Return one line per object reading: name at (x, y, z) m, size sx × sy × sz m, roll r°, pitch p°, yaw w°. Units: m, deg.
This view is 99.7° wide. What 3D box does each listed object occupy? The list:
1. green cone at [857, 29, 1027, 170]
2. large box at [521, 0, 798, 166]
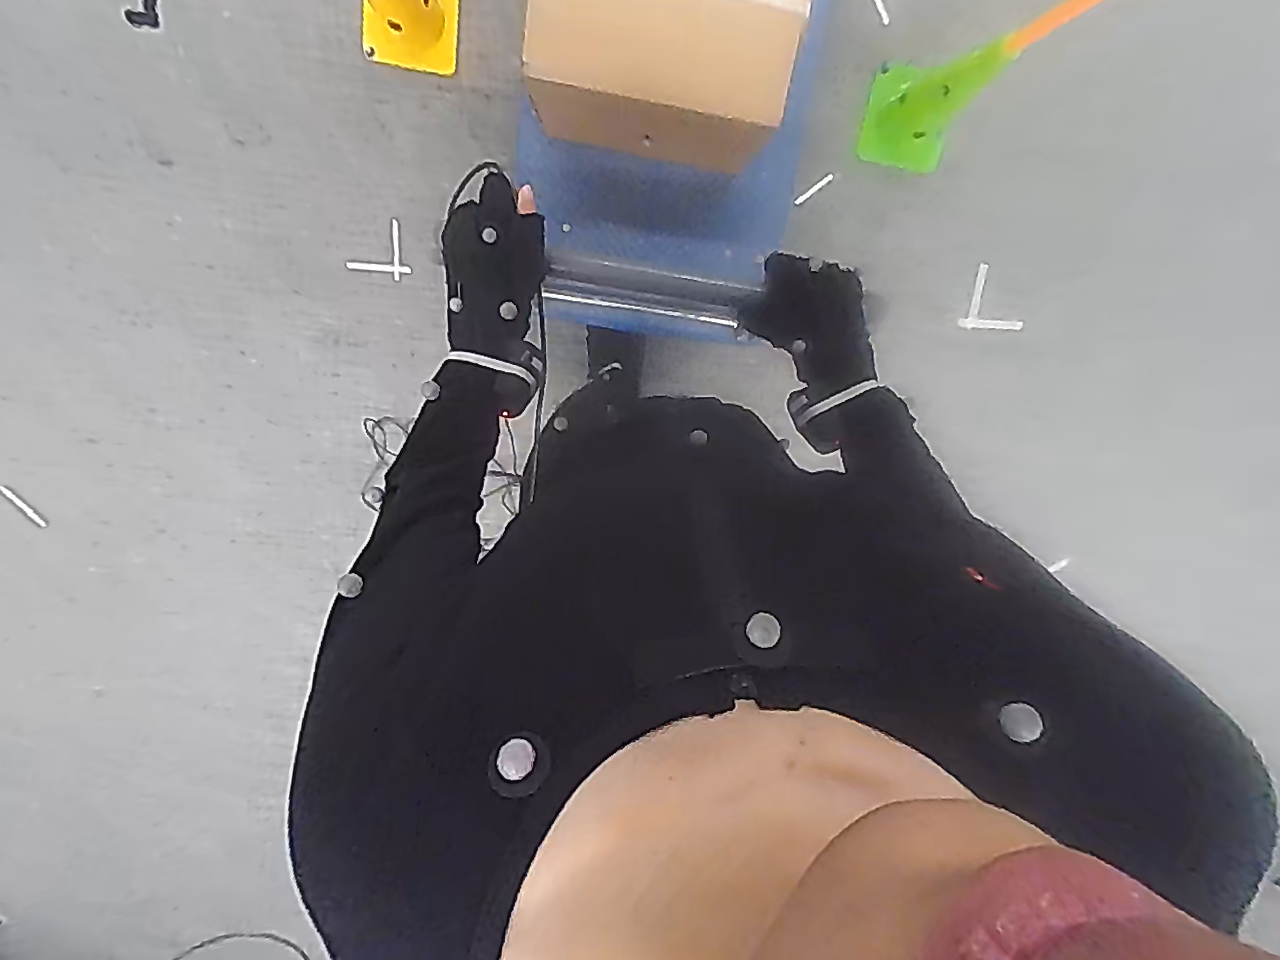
green cone at (0.629, -0.798, 1.096) m, size 0.202 × 0.368 × 0.200 m, roll 8°, pitch 107°, yaw -6°
large box at (0.036, -0.773, 0.928) m, size 0.408 × 0.320 × 0.320 m, roll 9°, pitch 107°, yaw -4°
